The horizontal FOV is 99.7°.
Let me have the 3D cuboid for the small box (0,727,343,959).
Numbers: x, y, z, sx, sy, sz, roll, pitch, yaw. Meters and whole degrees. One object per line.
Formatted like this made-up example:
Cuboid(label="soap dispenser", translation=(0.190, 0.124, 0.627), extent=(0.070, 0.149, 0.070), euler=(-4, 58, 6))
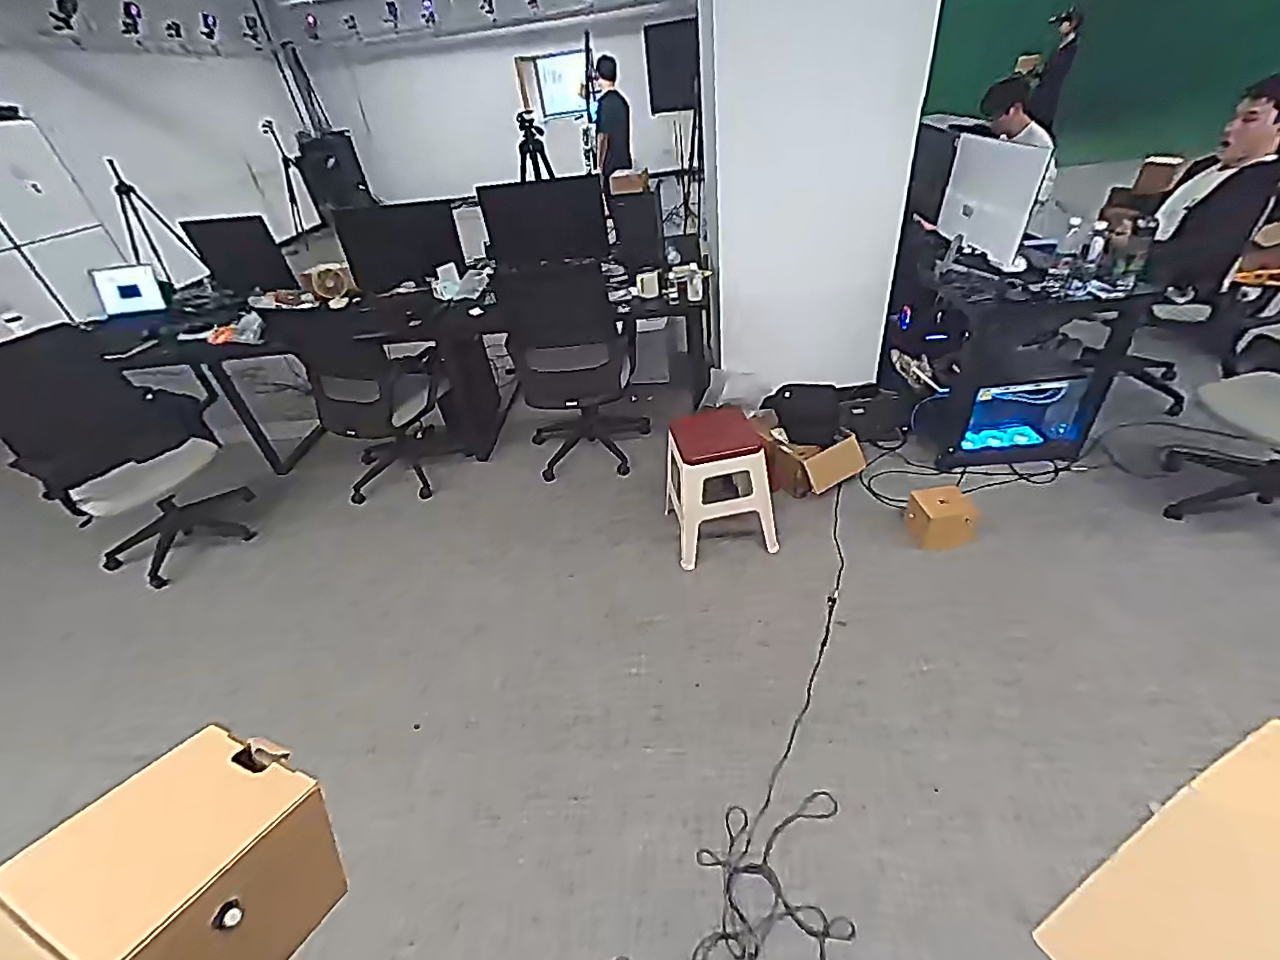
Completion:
Cuboid(label="small box", translation=(-0.414, 0.381, 0.506), extent=(0.168, 0.176, 0.179), euler=(12, 24, 21))
